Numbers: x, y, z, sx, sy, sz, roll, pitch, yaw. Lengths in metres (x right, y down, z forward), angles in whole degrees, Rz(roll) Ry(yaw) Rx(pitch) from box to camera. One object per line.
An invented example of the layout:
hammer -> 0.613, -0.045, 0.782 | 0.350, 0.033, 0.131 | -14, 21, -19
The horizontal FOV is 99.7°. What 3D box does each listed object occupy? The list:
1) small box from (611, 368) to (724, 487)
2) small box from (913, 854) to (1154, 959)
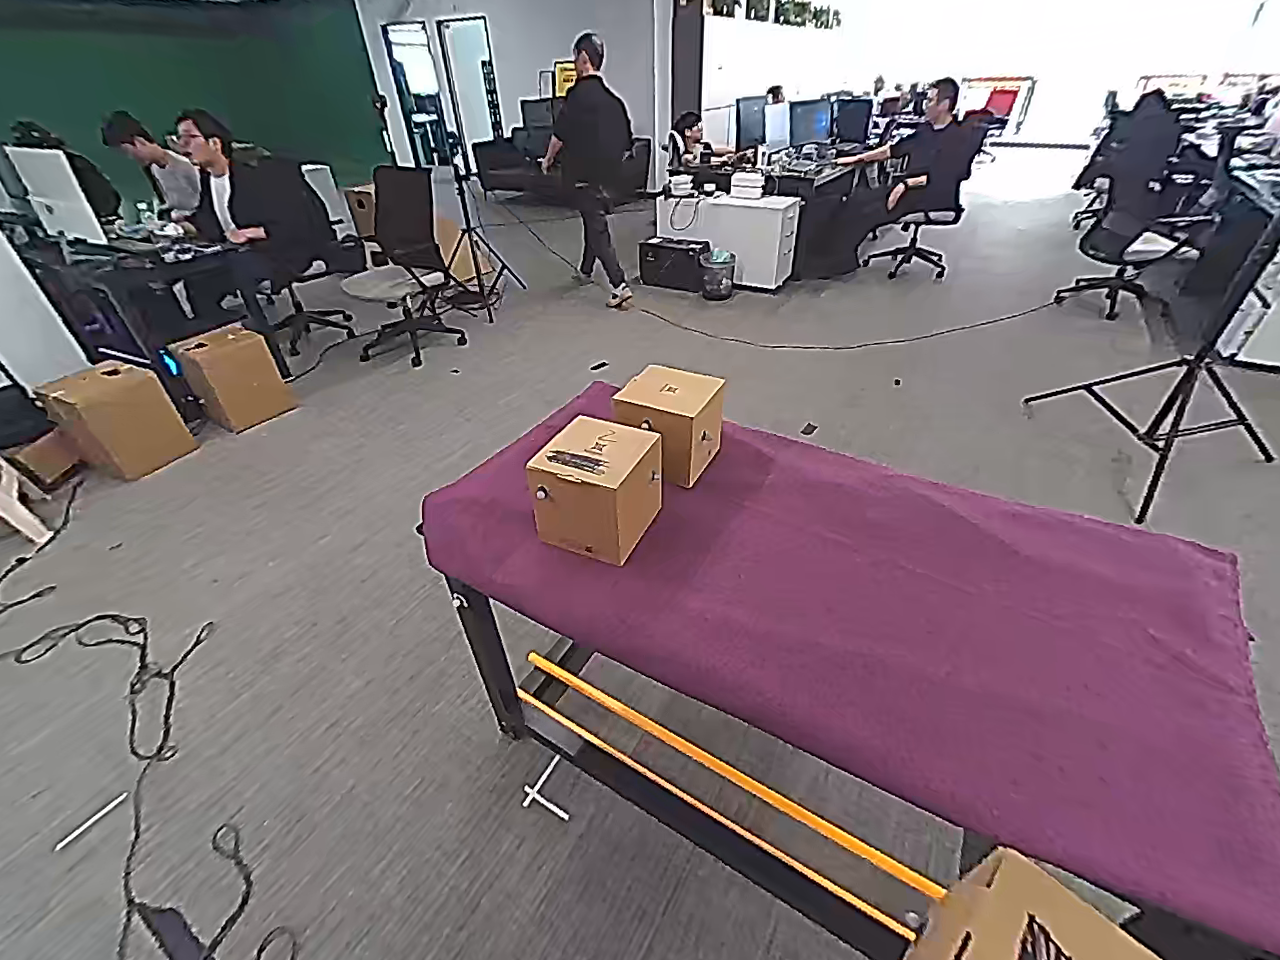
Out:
small box -> 0.059, -0.107, 1.112 | 0.179, 0.176, 0.168 | 17, 41, 23
small box -> 0.240, 0.371, 0.306 | 0.168, 0.176, 0.179 | -36, 50, -29
